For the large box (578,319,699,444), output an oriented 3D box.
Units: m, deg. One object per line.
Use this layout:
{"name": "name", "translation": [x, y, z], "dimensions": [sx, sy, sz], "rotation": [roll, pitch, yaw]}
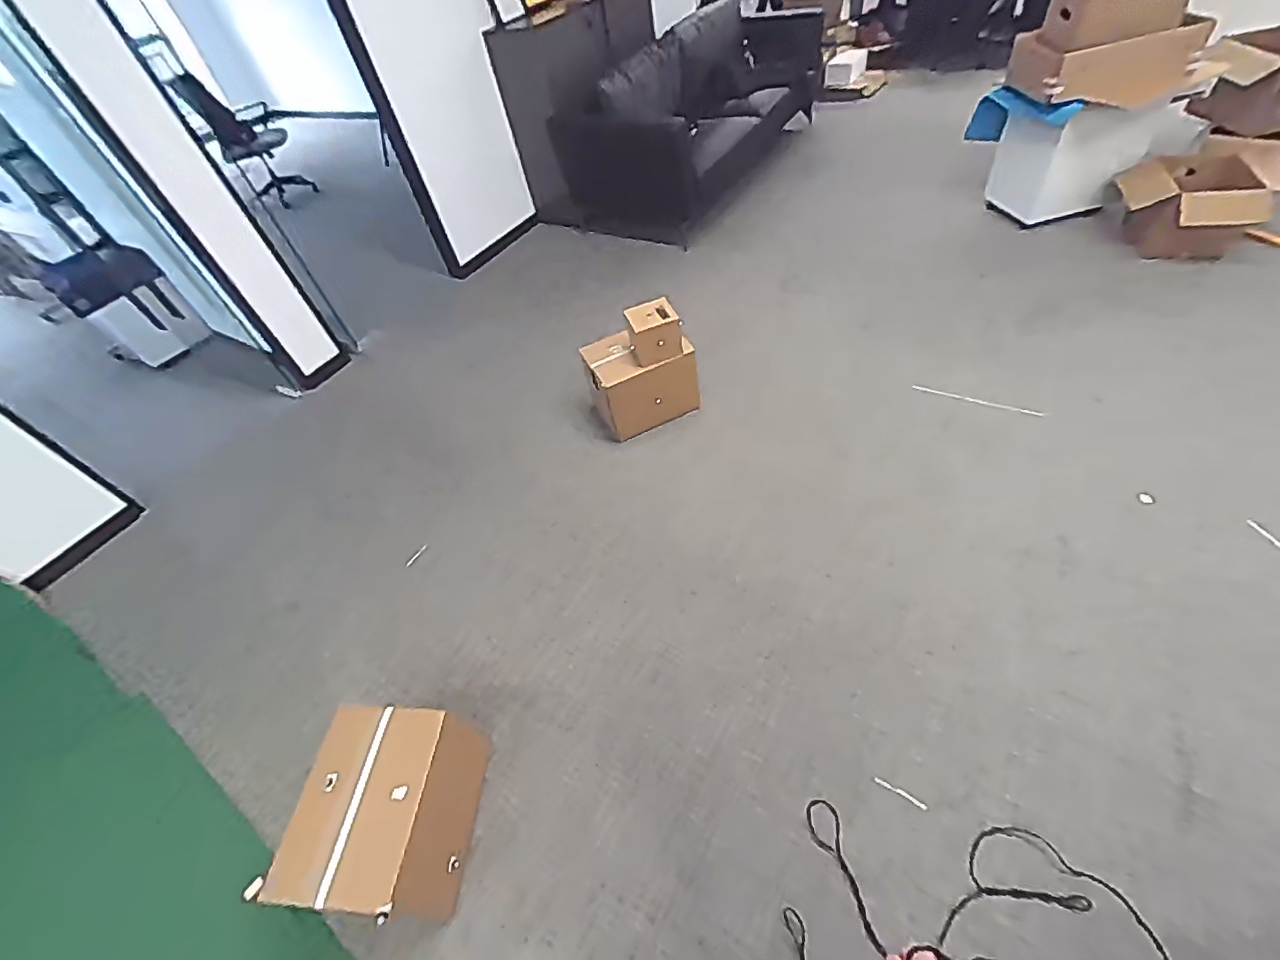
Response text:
{"name": "large box", "translation": [0.000, -0.425, 2.329], "dimensions": [0.408, 0.320, 0.320], "rotation": [-26, 48, -10]}
